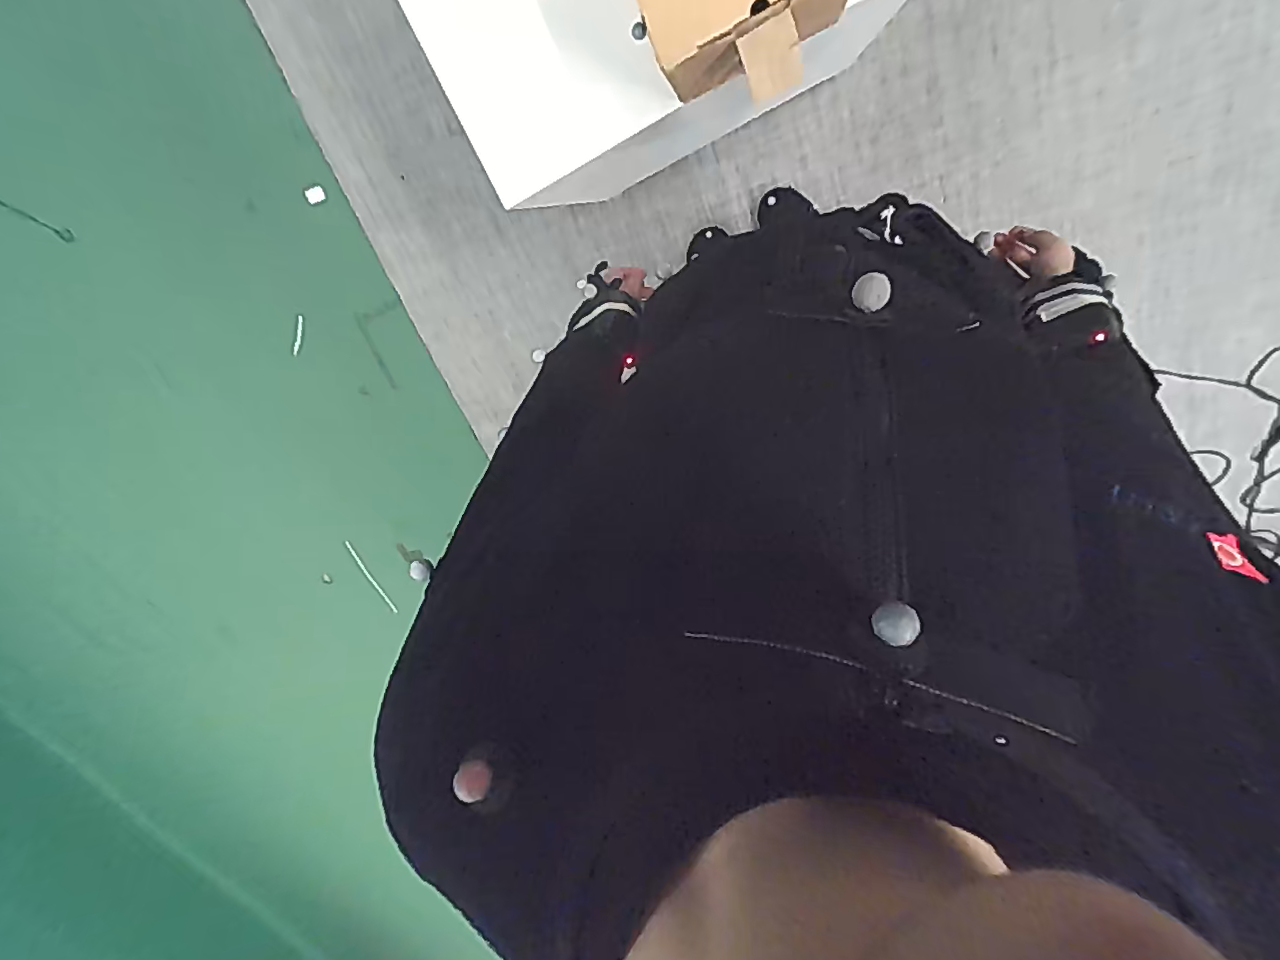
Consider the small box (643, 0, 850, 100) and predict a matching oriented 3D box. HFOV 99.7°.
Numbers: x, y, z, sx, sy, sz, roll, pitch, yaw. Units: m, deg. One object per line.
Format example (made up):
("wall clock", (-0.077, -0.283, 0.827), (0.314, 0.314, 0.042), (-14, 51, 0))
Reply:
("small box", (0.074, -0.457, 0.447), (0.168, 0.176, 0.179), (-18, 113, 18))
